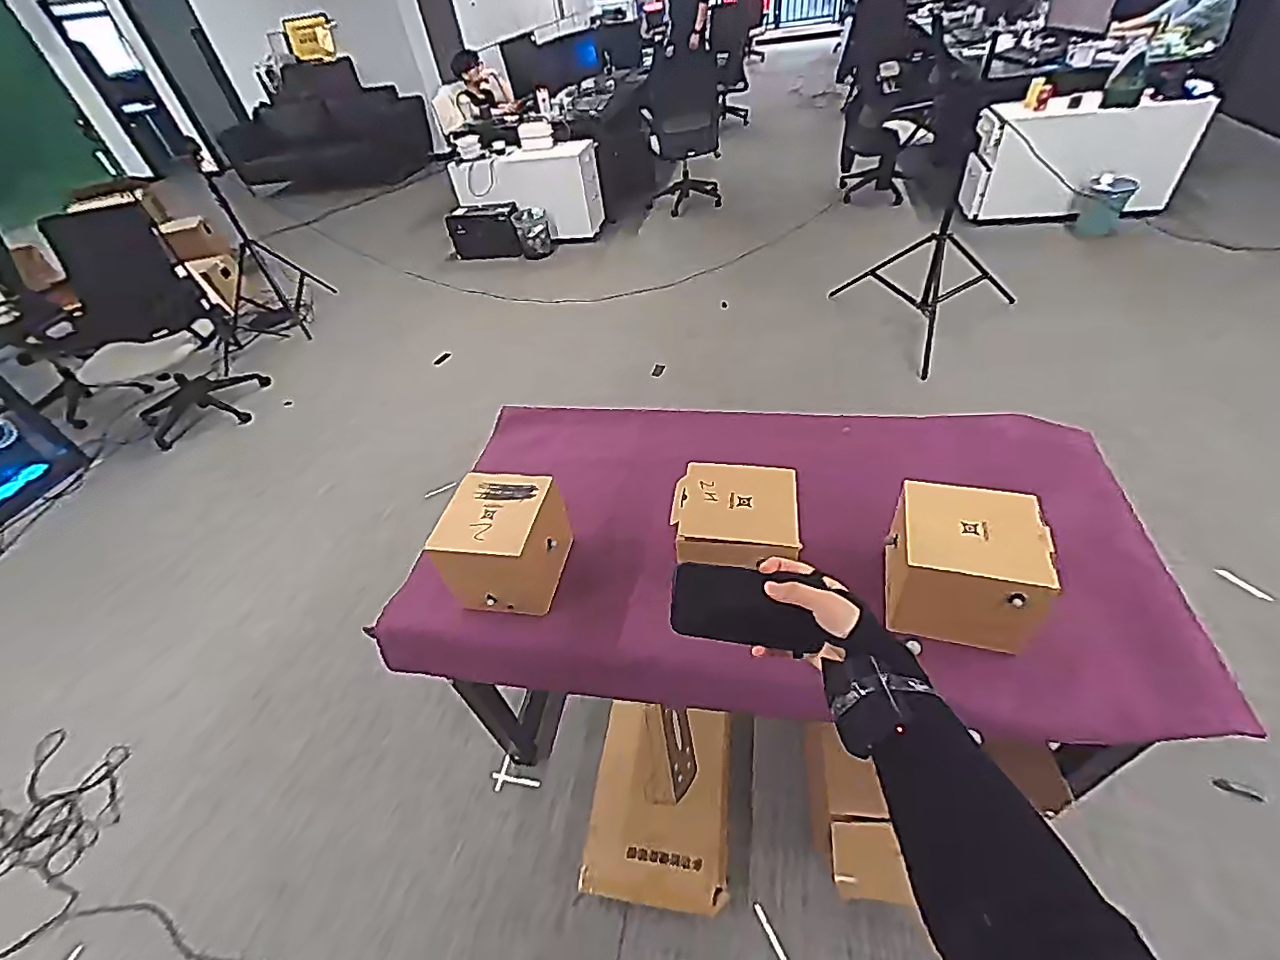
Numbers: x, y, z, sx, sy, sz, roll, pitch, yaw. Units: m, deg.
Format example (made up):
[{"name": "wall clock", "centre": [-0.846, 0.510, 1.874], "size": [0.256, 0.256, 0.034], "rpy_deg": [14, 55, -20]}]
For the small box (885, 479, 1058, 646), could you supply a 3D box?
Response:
[{"name": "small box", "centre": [0.466, 0.121, 0.794], "size": [0.179, 0.176, 0.168], "rpy_deg": [7, 46, 17]}]

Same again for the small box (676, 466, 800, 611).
[{"name": "small box", "centre": [0.158, 0.095, 0.875], "size": [0.179, 0.176, 0.168], "rpy_deg": [1, 42, 12]}]
